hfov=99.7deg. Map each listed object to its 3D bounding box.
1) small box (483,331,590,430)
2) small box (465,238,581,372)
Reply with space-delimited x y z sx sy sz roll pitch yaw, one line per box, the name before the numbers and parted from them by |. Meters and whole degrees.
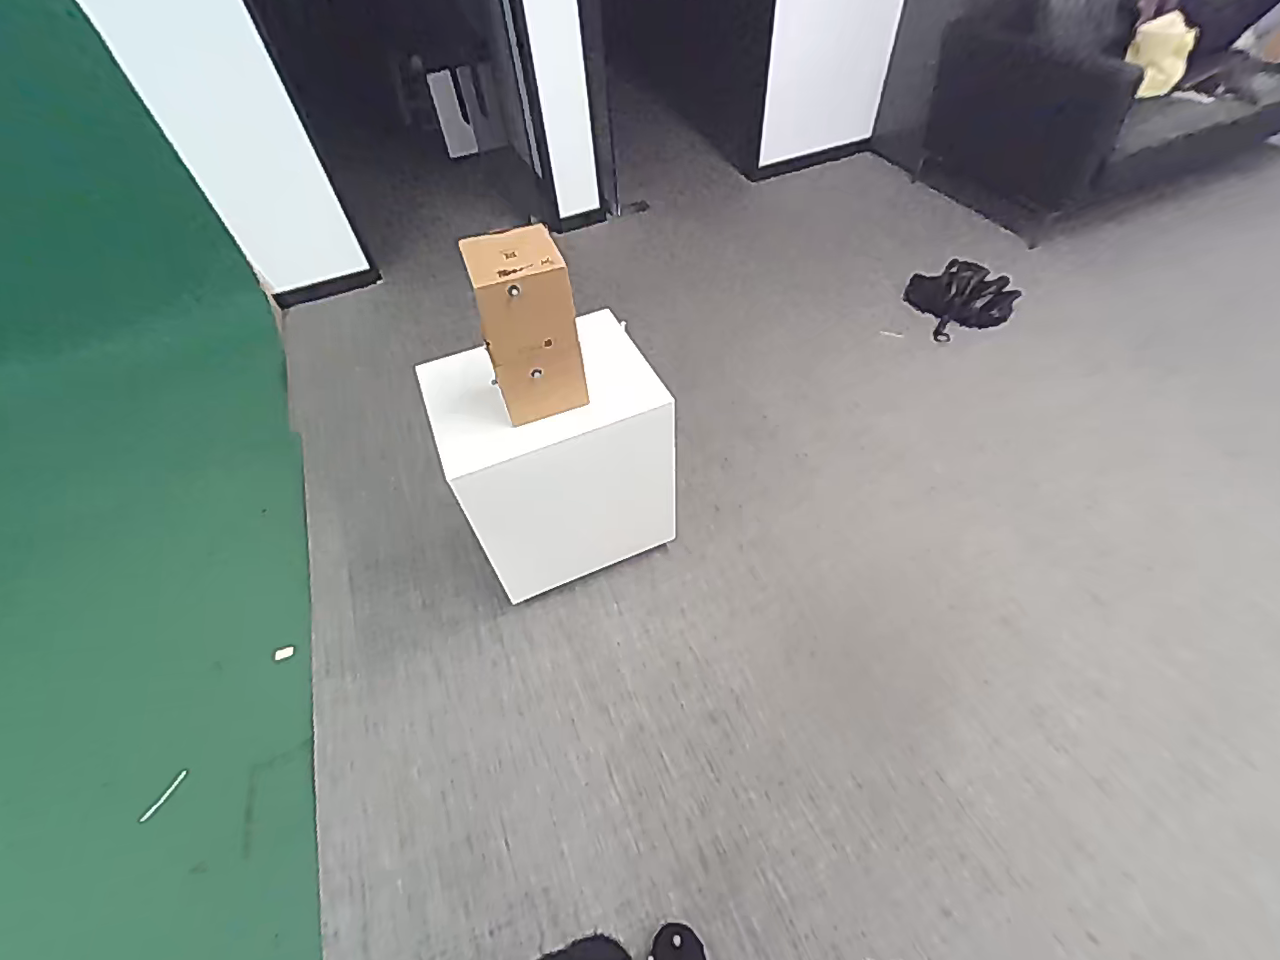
small box | -0.221 -0.233 1.173 0.179 0.176 0.168 -19 51 -12
small box | -0.224 -0.340 1.053 0.168 0.176 0.179 -19 52 -13
